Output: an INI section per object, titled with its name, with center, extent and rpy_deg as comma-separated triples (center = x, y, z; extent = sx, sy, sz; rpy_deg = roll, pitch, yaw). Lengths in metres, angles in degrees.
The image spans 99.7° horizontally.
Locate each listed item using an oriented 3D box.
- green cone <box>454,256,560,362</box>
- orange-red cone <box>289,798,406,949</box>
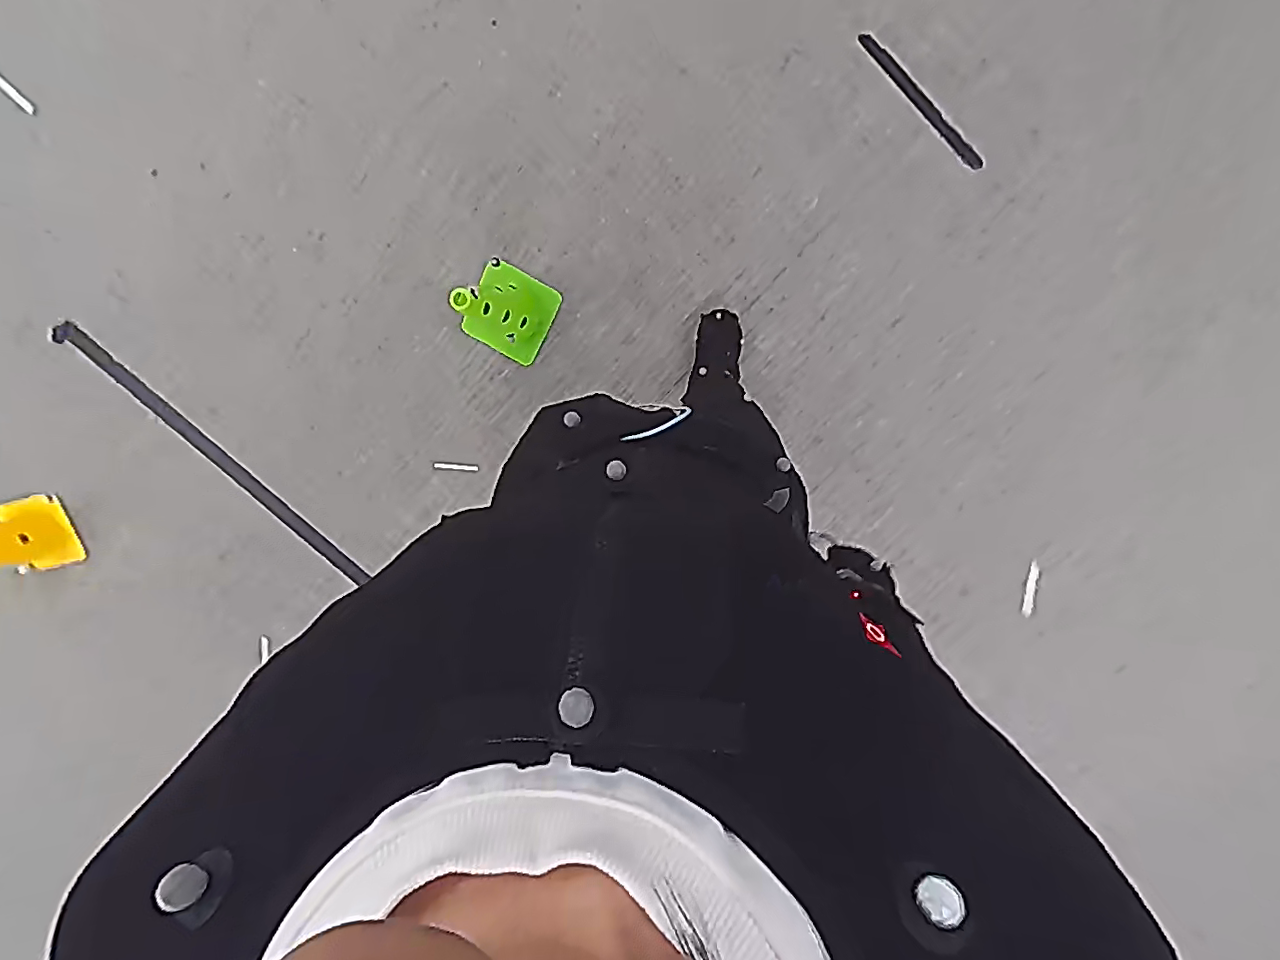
[green cone]
center = -0.326, -0.377, 1.171
extent = 0.202, 0.368, 0.200
rpy_deg = 28, 104, -5
[orange-red cone]
center = -0.886, 1.165, 1.573
extent = 0.198, 0.360, 0.199
rpy_deg = -37, 98, 10
